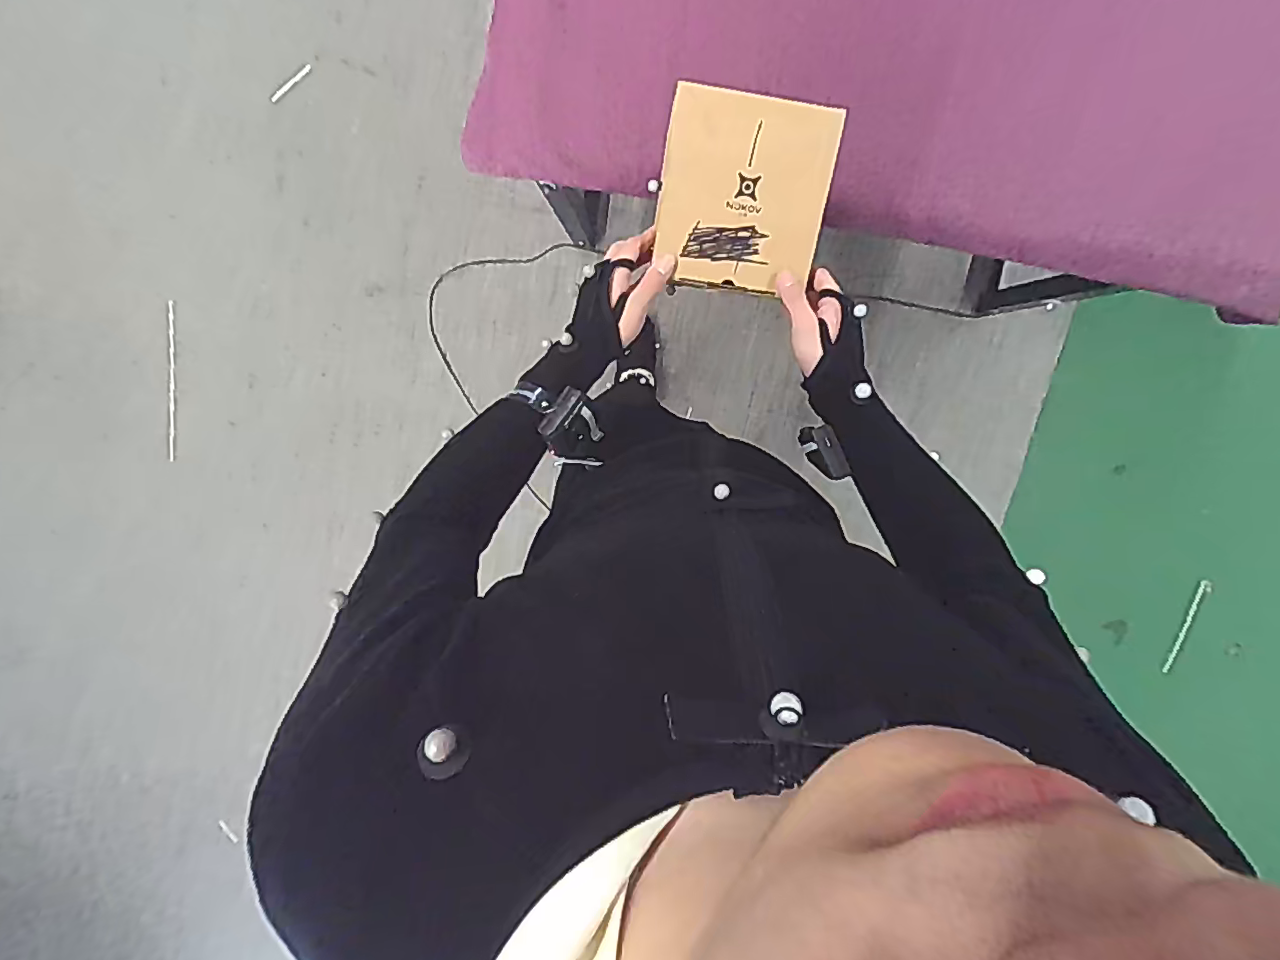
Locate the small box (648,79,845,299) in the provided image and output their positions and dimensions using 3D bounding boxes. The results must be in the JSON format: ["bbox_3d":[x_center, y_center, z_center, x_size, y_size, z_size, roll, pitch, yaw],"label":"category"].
[{"bbox_3d":[0.104,-0.309,0.612,0.168,0.176,0.179,8,108,-3],"label":"small box"}]
